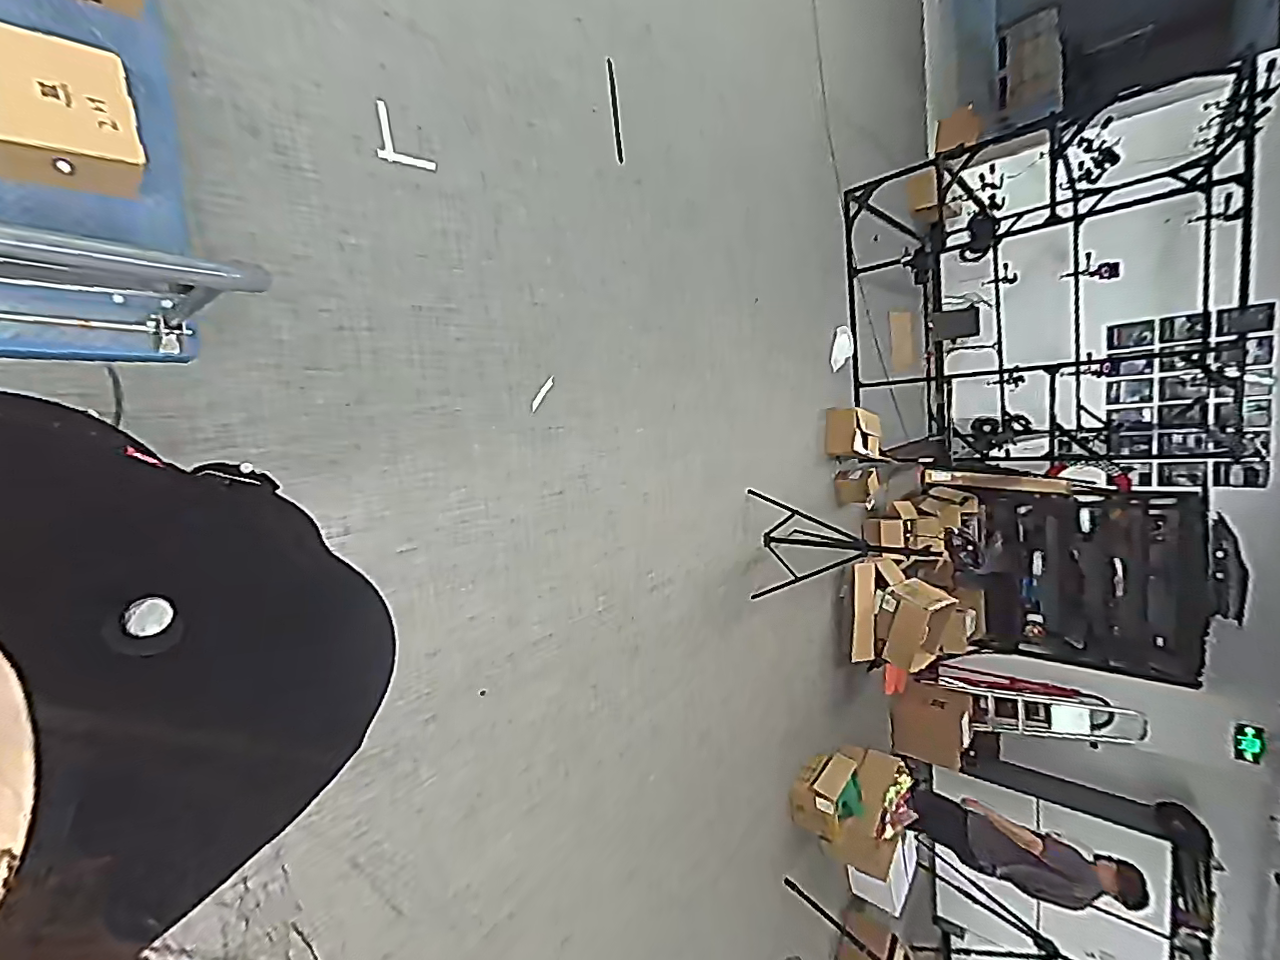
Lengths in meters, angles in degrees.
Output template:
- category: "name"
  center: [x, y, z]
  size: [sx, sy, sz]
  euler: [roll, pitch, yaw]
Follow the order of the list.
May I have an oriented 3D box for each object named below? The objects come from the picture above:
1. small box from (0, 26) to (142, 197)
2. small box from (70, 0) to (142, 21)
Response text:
- category: "small box"
  center: [-0.949, -0.584, 0.876]
  size: [0.179, 0.176, 0.168]
  euler: [-16, 102, -46]
- category: "small box"
  center: [-0.938, -0.921, 0.884]
  size: [0.168, 0.176, 0.179]
  euler: [-13, 101, -47]
